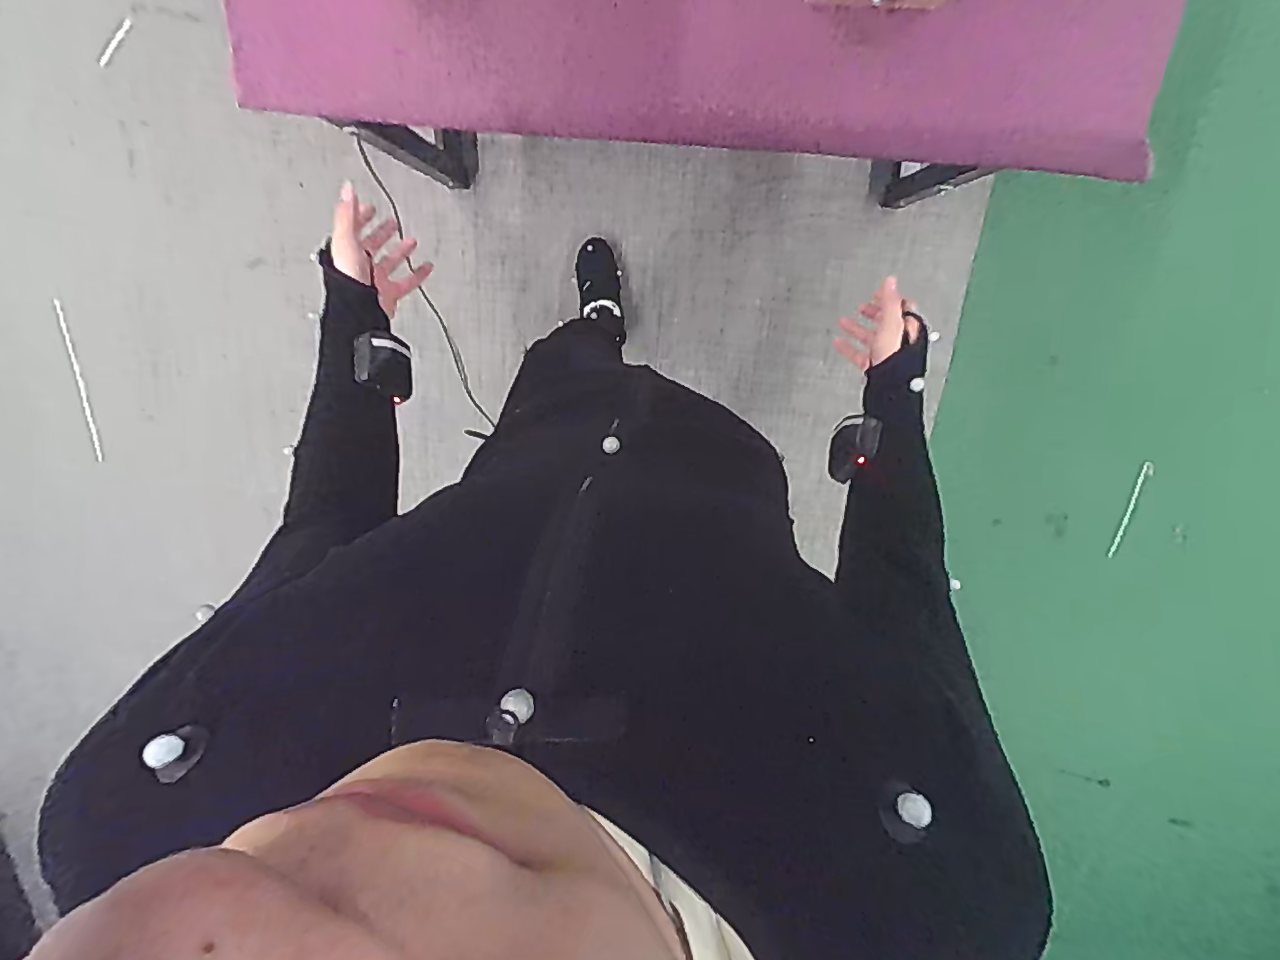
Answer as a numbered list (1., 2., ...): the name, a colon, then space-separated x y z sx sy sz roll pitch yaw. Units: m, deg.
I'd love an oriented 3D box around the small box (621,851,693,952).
1. small box: 0.048 1.252 1.614 0.179 0.176 0.168 13 108 -3
